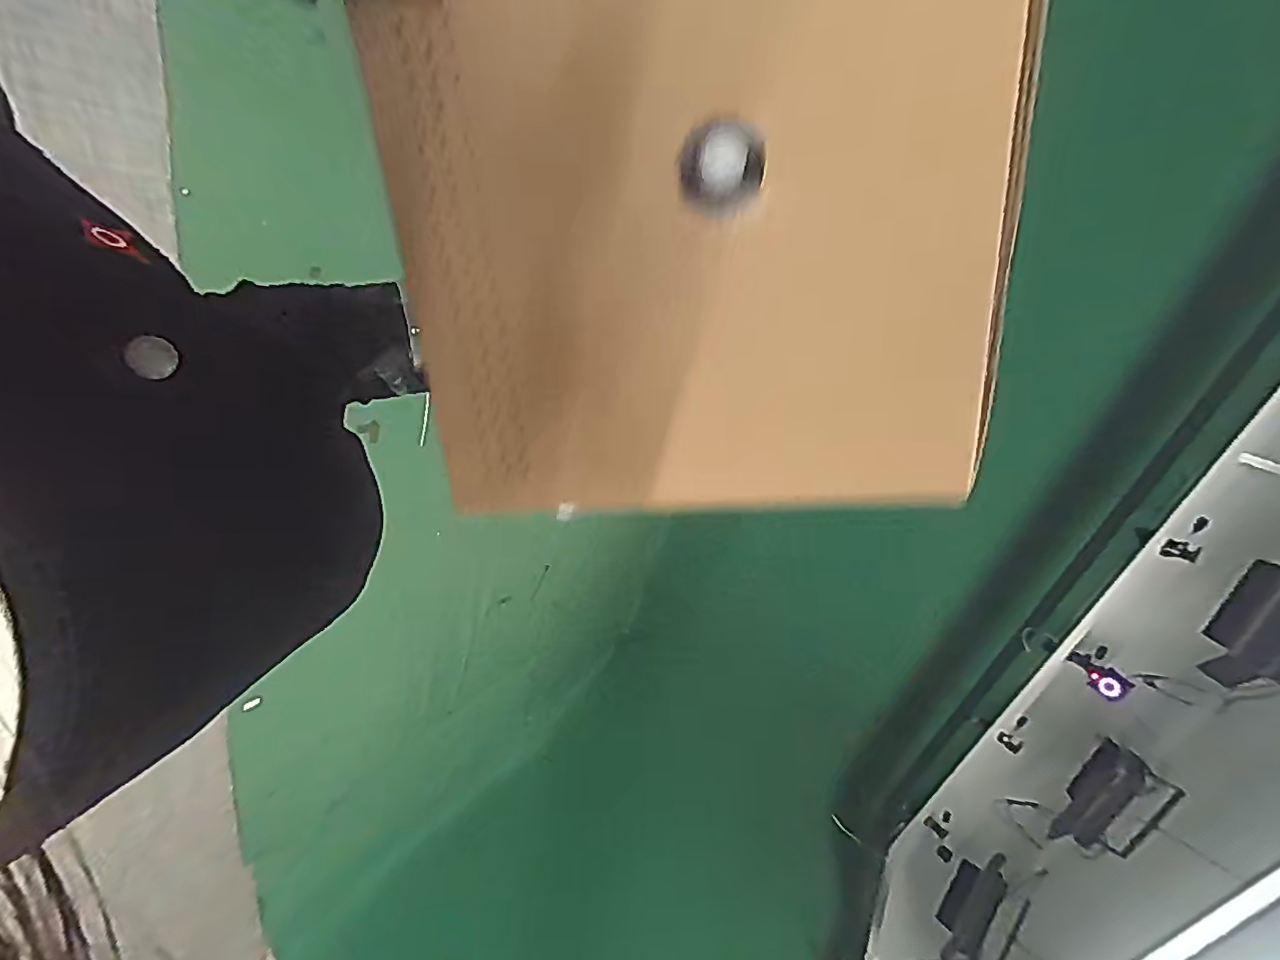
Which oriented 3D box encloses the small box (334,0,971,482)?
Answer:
[{"bbox_3d":[0.009,-0.104,0.229,0.168,0.176,0.179,-74,159,-69],"label":"small box"}]
